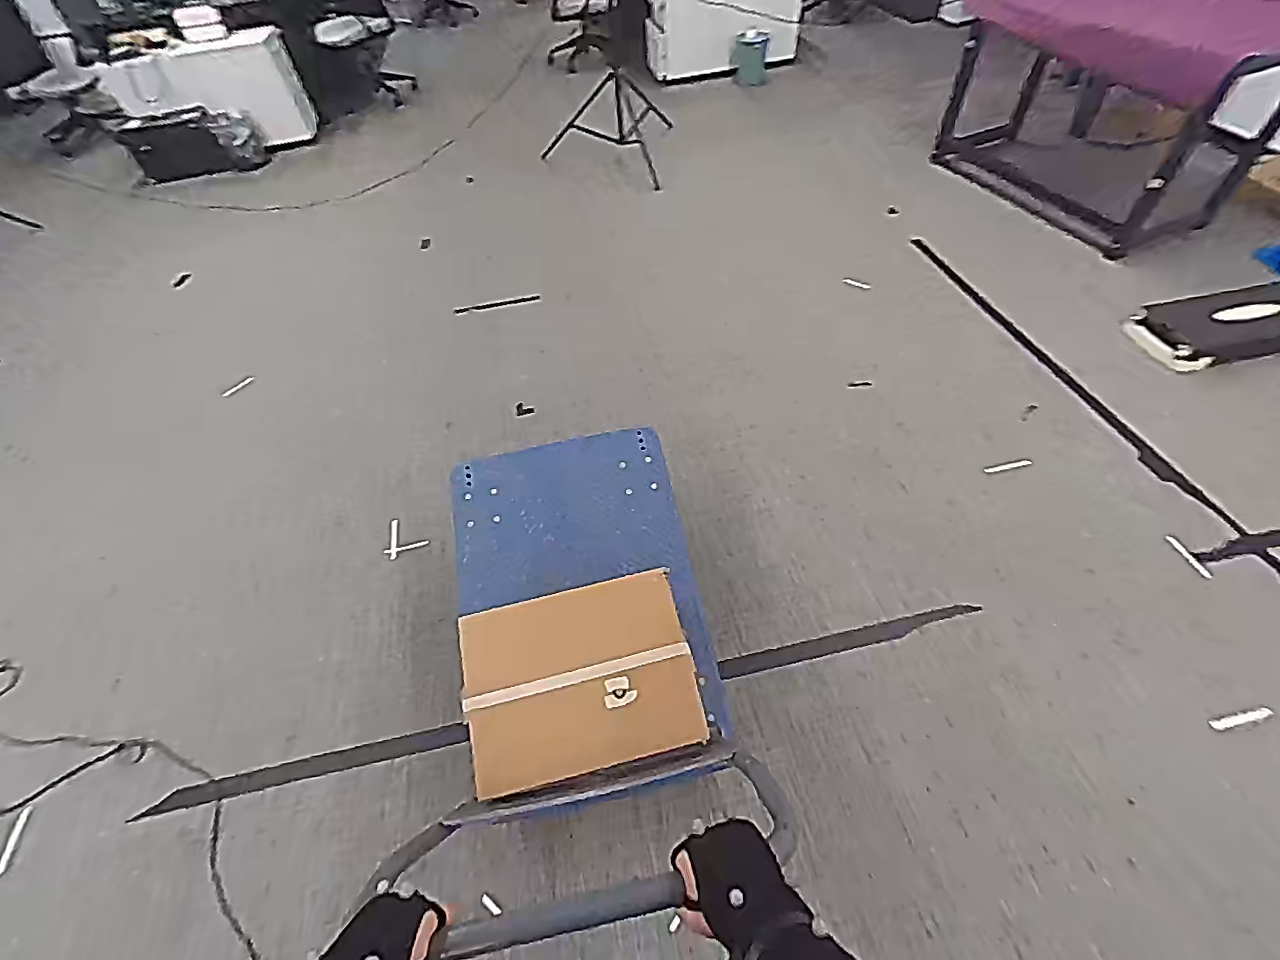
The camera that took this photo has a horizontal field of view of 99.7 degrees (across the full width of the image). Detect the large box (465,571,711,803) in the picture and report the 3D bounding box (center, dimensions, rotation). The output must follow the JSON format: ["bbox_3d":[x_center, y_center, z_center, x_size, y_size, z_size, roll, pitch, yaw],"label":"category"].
[{"bbox_3d":[-0.102,0.424,1.121,0.408,0.320,0.320,-14,67,-6],"label":"large box"}]
